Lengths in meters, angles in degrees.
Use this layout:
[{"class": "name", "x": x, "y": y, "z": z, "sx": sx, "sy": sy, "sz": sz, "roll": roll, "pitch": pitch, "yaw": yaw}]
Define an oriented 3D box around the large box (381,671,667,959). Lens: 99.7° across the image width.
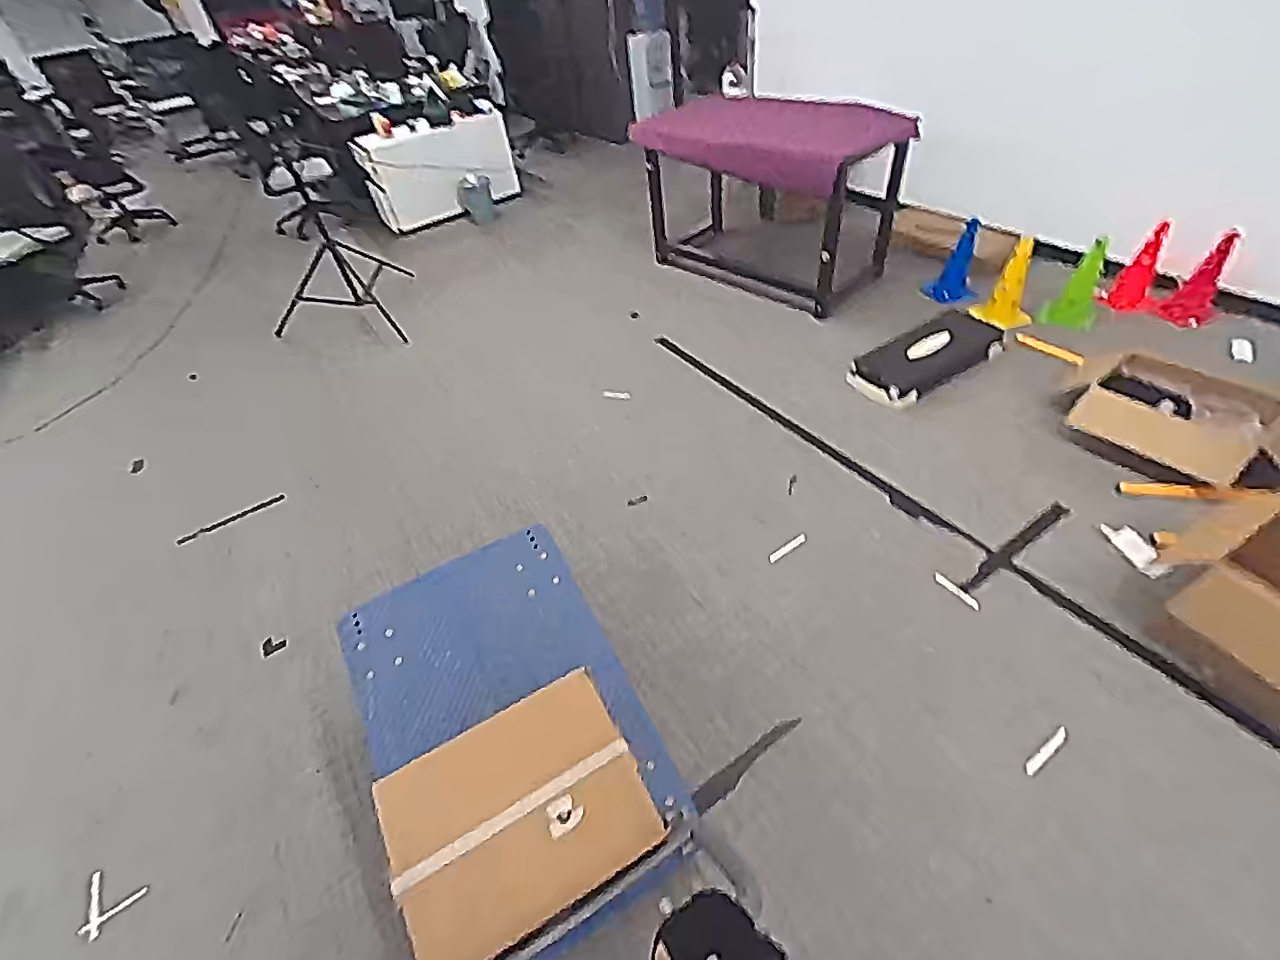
[{"class": "large box", "x": -0.202, "y": 0.642, "z": 1.034, "sx": 0.408, "sy": 0.320, "sz": 0.320, "roll": -26, "pitch": 62, "yaw": -17}]
